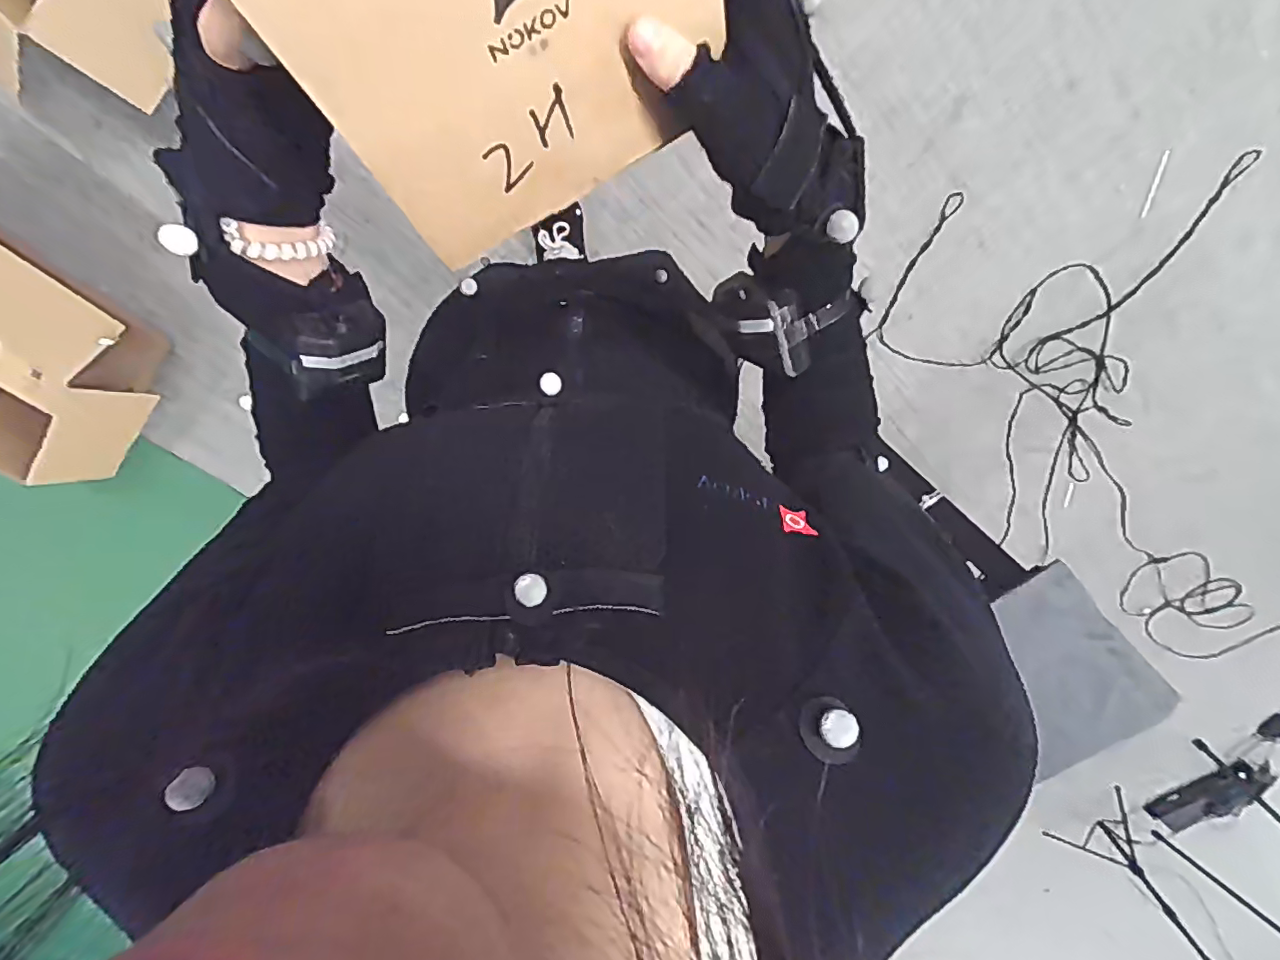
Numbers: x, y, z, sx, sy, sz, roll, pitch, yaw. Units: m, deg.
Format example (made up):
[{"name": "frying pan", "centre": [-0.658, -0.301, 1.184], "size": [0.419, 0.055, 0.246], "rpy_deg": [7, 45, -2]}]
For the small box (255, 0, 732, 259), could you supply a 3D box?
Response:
[{"name": "small box", "centre": [-0.079, -0.243, 0.225], "size": [0.168, 0.176, 0.179], "rpy_deg": [-29, 156, 2]}]
